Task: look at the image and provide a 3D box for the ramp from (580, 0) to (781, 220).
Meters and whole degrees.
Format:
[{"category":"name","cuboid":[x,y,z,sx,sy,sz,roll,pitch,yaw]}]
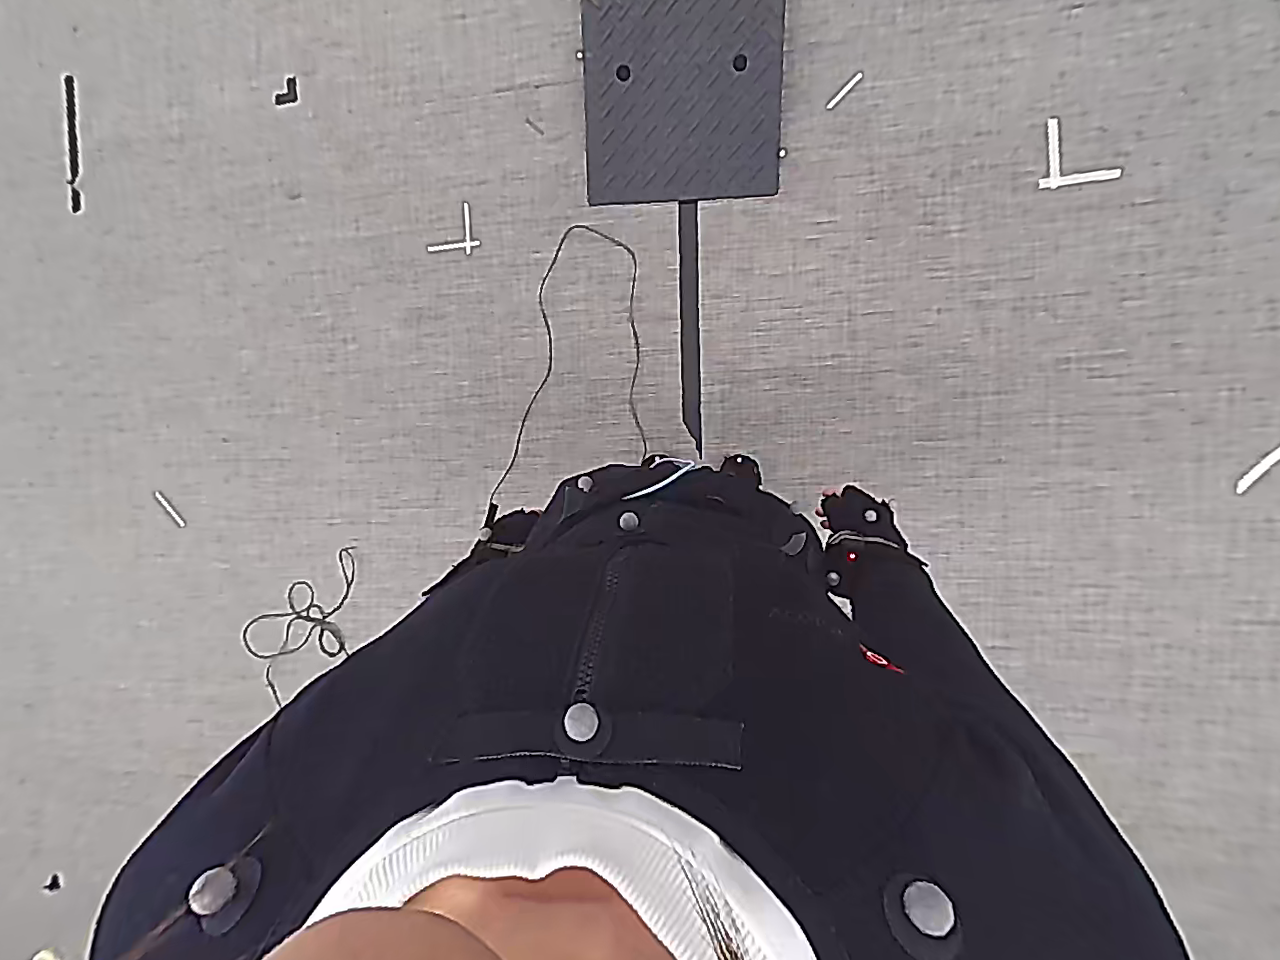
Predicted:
[{"category":"ramp","cuboid":[0.095,-1.190,1.316,0.509,0.206,0.991,-2,92,8]}]
